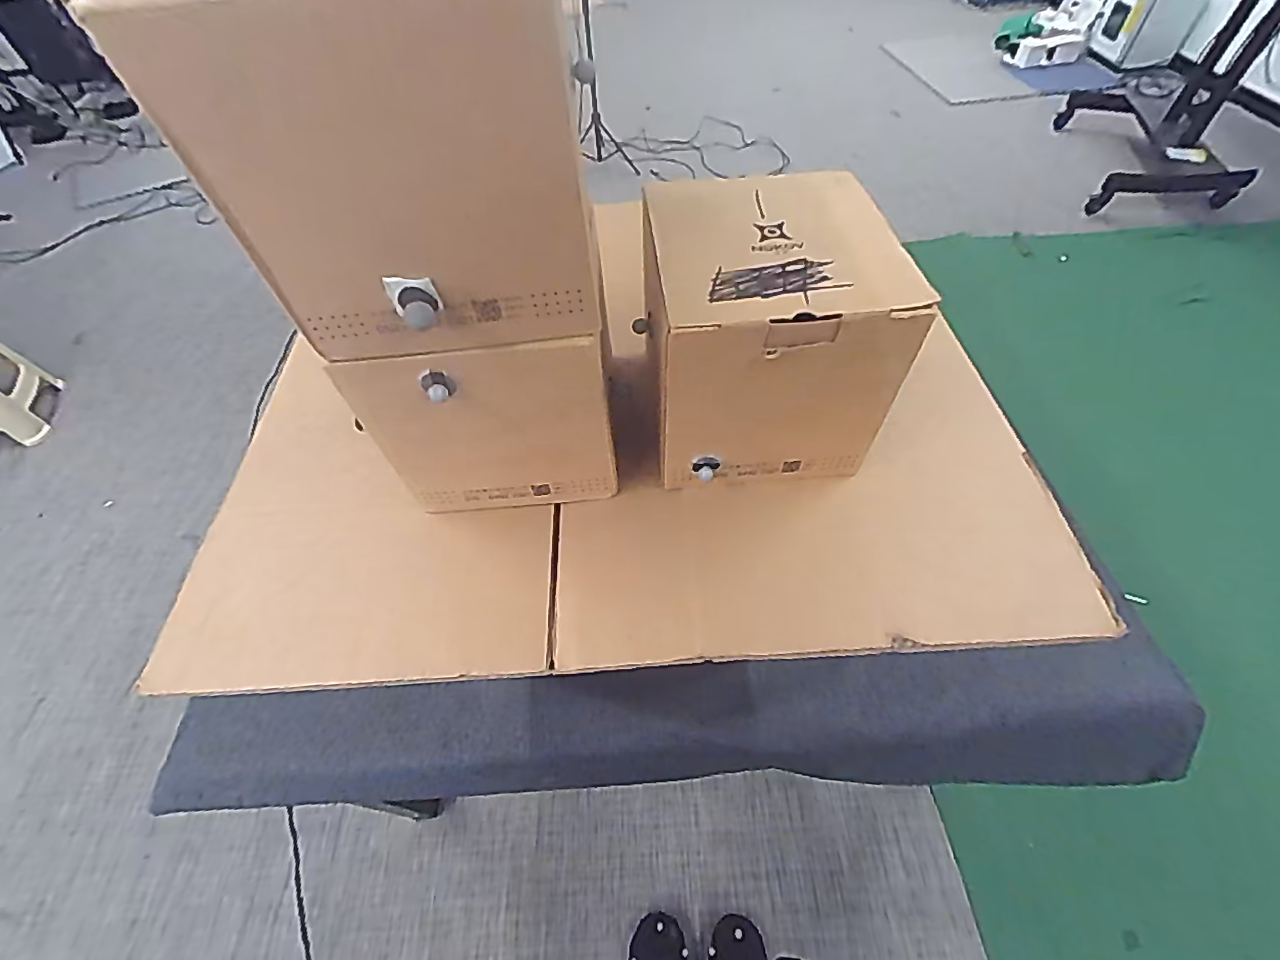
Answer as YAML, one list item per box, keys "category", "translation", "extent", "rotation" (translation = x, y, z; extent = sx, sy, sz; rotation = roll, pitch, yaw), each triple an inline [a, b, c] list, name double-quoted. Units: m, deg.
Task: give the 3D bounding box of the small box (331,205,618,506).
- category: "small box"
  translation: [-0.109, -0.099, 0.445]
  extent: [0.168, 0.176, 0.179]
  rotation: [-5, 53, 2]

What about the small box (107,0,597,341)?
- category: "small box"
  translation: [-0.119, -0.204, 0.302]
  extent: [0.168, 0.176, 0.179]
  rotation: [-8, 56, -1]
